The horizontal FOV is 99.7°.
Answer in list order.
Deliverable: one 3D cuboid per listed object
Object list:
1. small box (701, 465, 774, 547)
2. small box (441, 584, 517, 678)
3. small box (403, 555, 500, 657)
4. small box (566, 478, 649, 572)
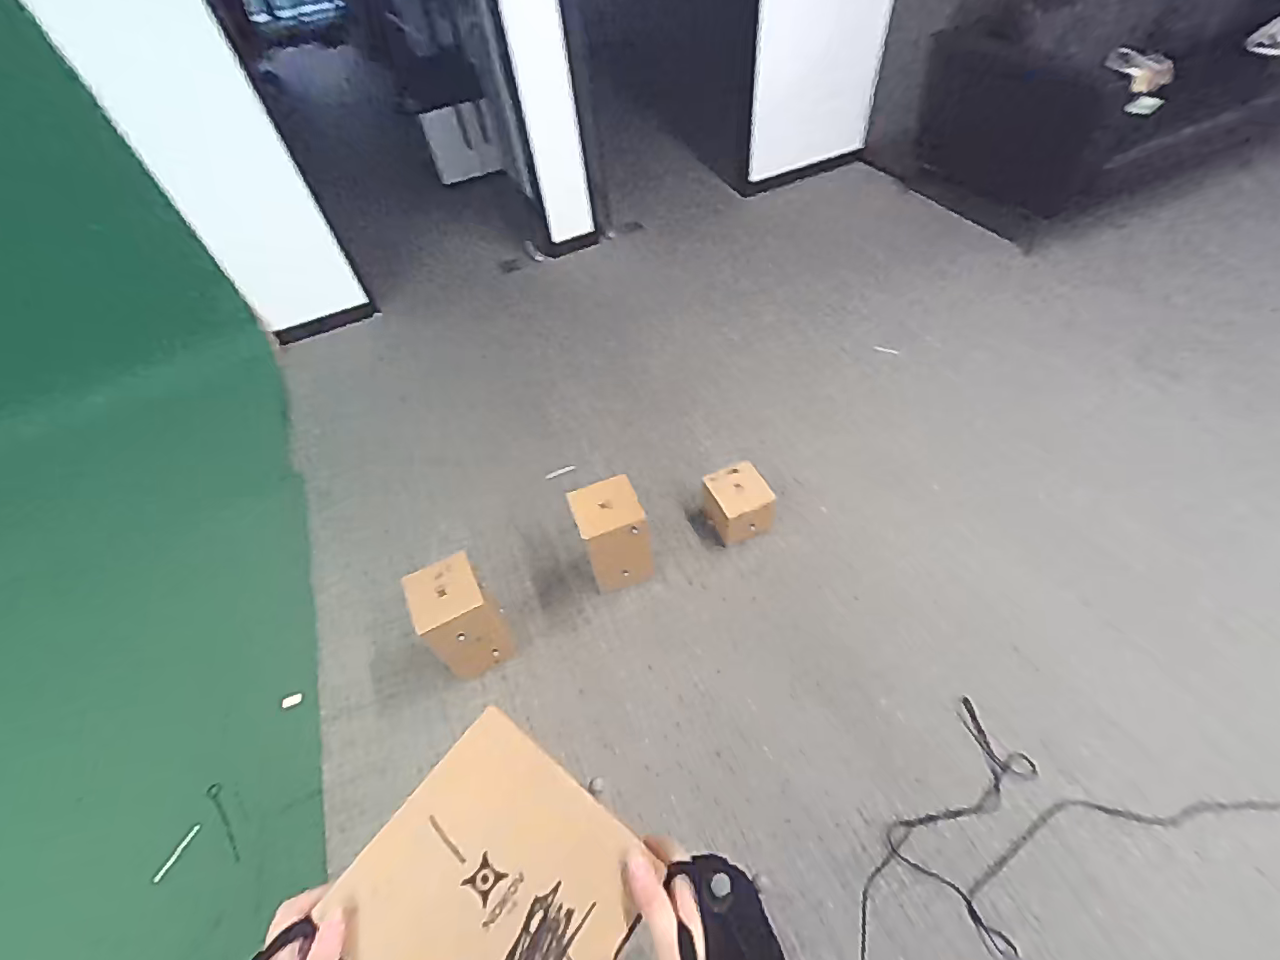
[{"bbox_3d":[0.302,0.088,1.698,0.168,0.176,0.179,-20,52,-10],"label":"small box"},{"bbox_3d":[-0.461,0.431,1.513,0.168,0.176,0.179,-23,52,-13],"label":"small box"},{"bbox_3d":[-0.477,0.330,1.383,0.168,0.176,0.179,-24,52,-14],"label":"small box"},{"bbox_3d":[-0.087,0.129,1.500,0.179,0.176,0.168,-20,51,-9],"label":"small box"}]
